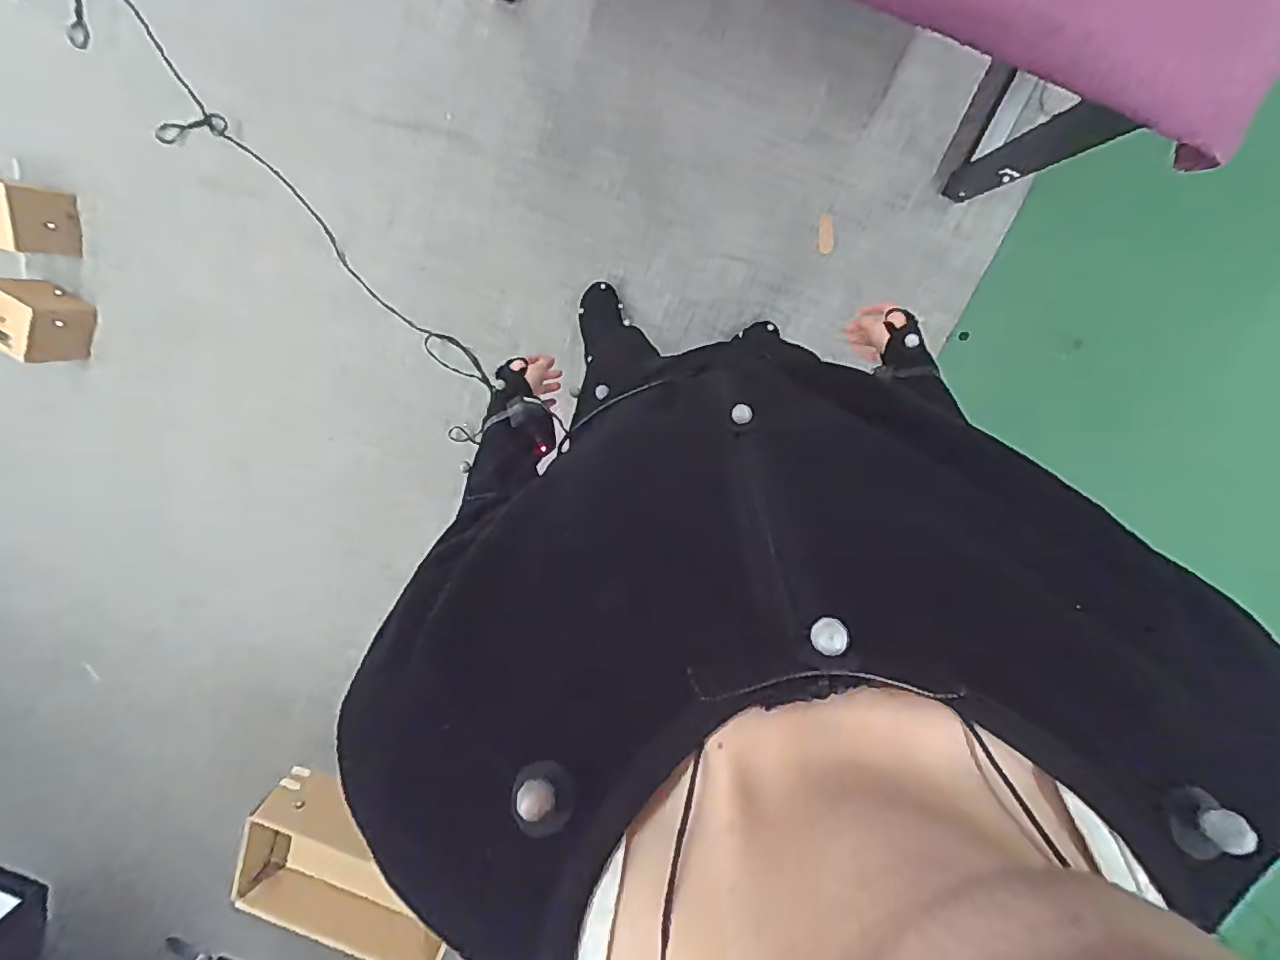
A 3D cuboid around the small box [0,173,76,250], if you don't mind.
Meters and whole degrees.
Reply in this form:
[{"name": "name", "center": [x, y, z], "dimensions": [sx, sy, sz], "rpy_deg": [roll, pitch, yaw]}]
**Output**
[{"name": "small box", "center": [-1.684, -0.727, 1.458], "dimensions": [0.179, 0.176, 0.168], "rpy_deg": [16, 110, 3]}]
